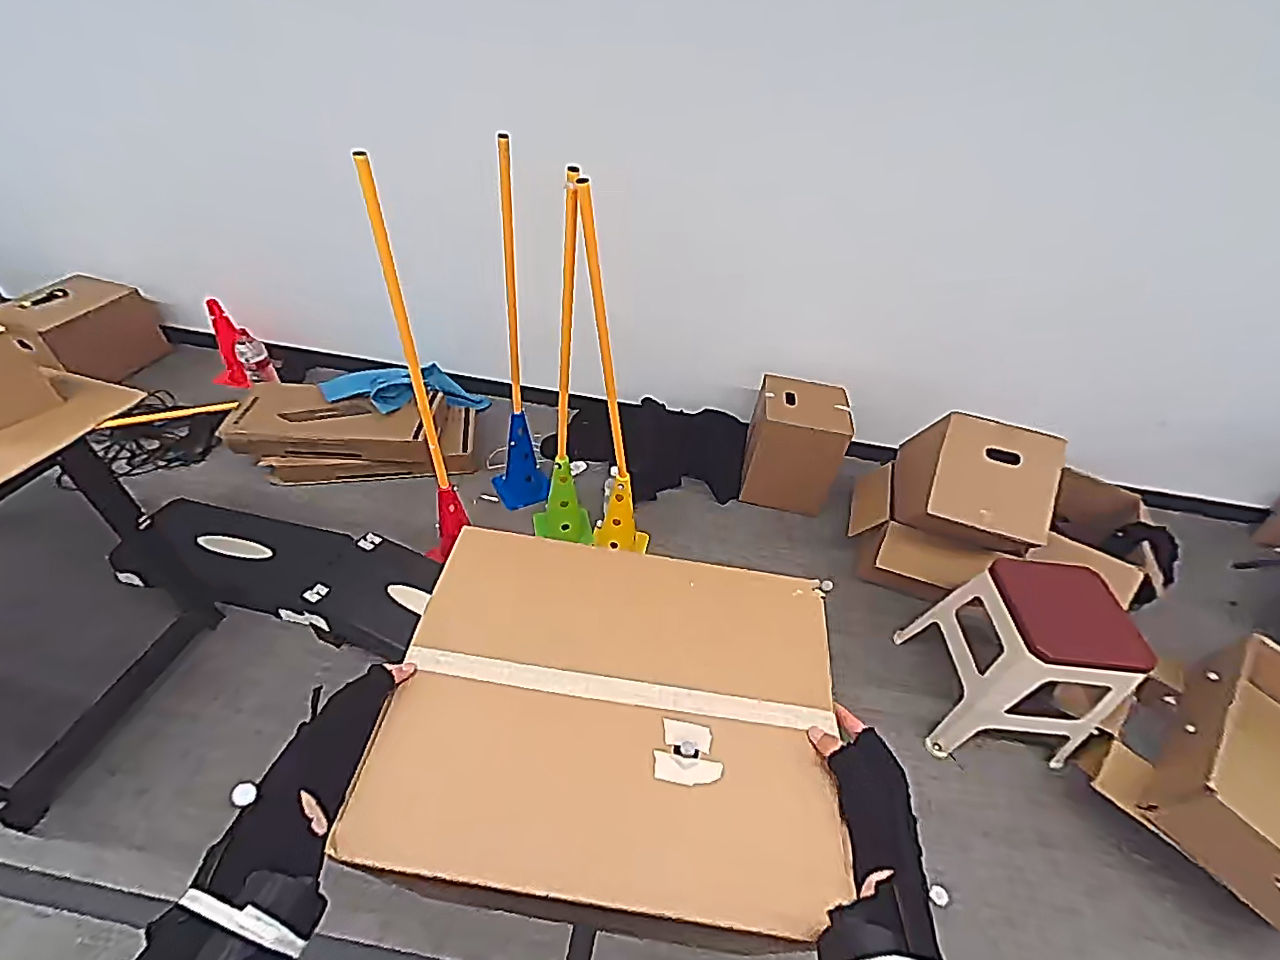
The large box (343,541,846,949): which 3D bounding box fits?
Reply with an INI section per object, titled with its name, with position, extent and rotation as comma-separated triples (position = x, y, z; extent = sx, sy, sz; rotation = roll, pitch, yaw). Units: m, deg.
[large box]
position = -0.034, 0.307, 0.624
extent = 0.408, 0.320, 0.320
rotation = 9, 49, 1
